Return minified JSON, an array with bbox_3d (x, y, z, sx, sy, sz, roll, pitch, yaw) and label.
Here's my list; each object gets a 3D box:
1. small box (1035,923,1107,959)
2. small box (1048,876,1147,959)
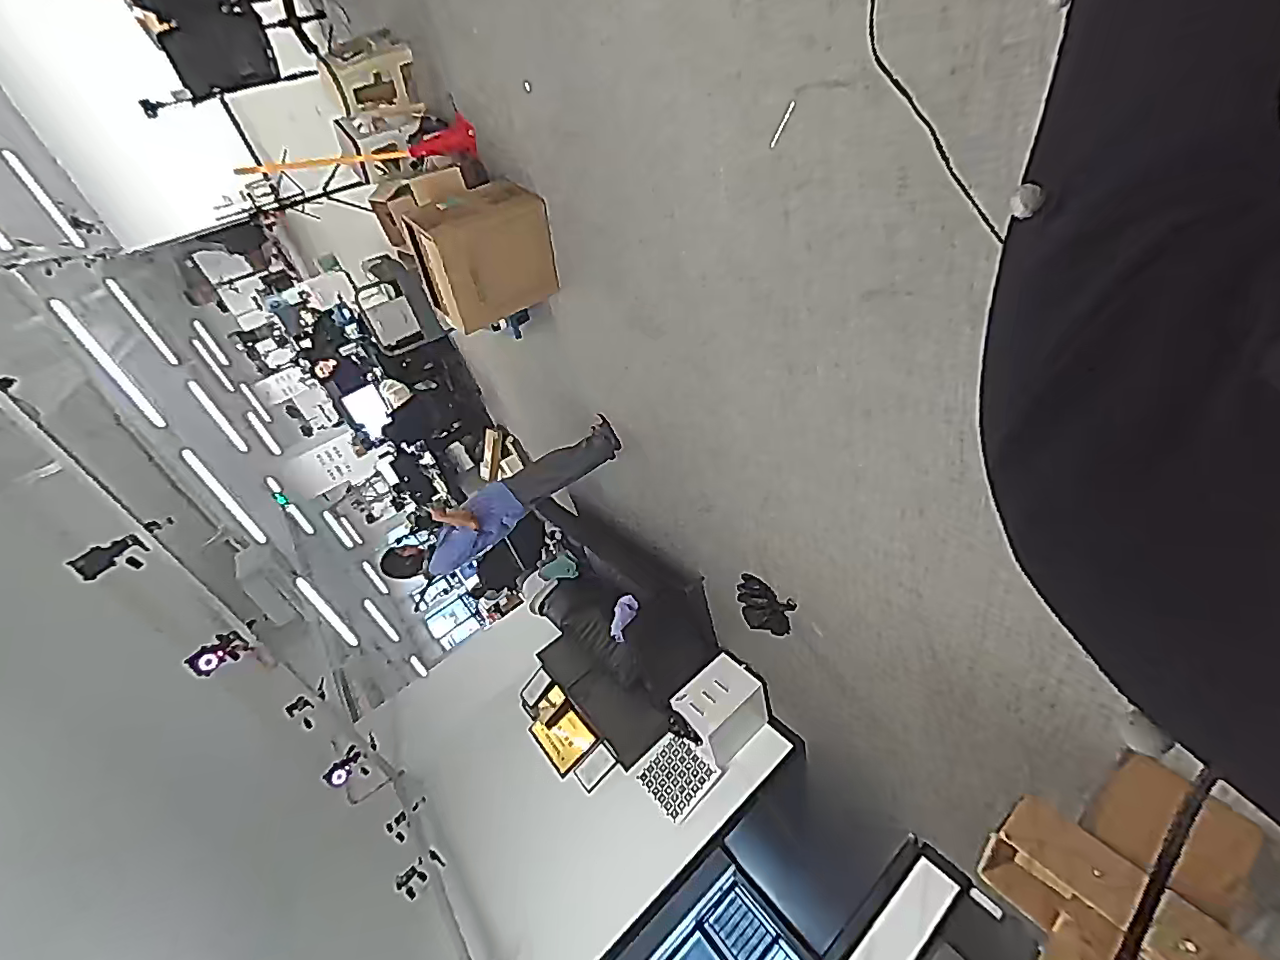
[{"bbox_3d":[1.230,1.414,1.530,0.168,0.176,0.179,30,145,47],"label":"small box"},{"bbox_3d":[1.350,1.325,1.597,0.168,0.176,0.179,30,148,47],"label":"small box"}]
